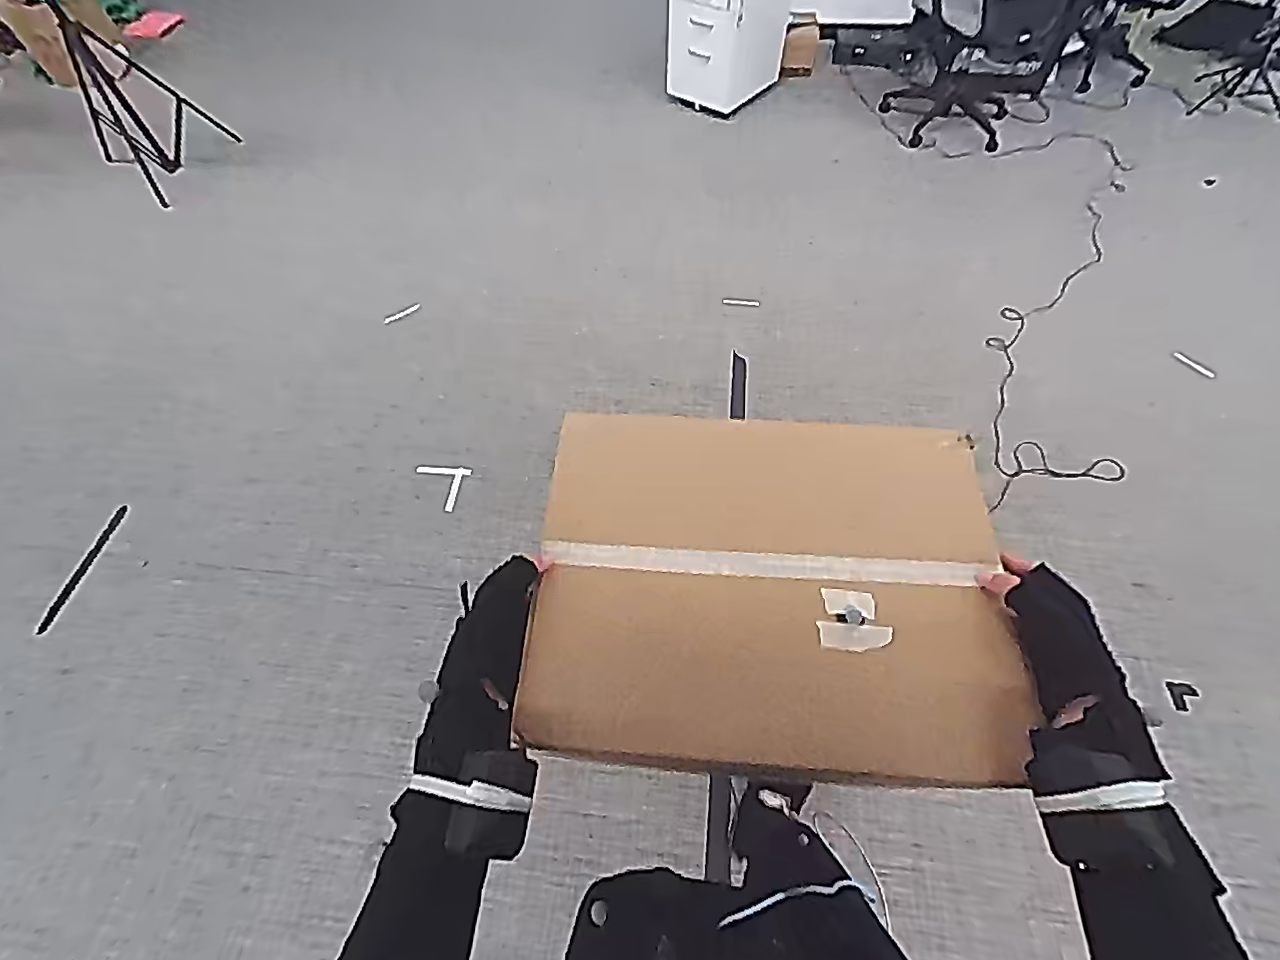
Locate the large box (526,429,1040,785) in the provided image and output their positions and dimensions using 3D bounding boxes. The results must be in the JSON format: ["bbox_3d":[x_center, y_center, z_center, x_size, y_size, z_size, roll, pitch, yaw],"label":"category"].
[{"bbox_3d":[0.115,0.159,0.617,0.408,0.320,0.320,3,61,3],"label":"large box"}]
